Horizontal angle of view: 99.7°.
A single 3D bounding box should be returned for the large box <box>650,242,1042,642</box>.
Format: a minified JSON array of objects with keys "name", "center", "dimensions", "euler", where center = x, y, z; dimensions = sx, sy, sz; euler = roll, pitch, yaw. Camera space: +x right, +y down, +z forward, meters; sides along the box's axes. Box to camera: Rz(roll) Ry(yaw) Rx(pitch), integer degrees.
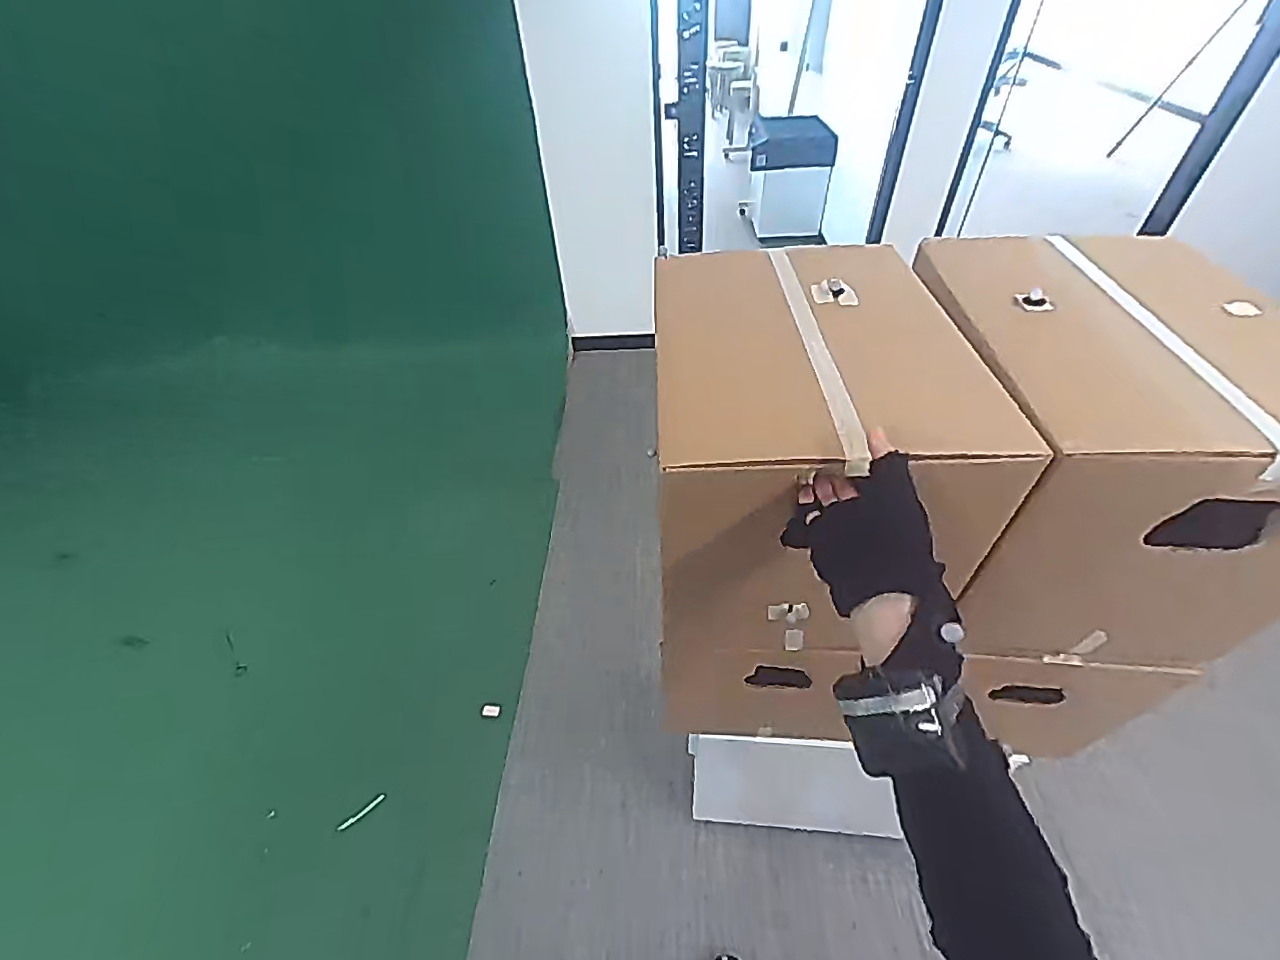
[{"name":"large box","center":[0.179,-0.055,0.675],"dimensions":[0.320,0.320,0.408],"euler":[-2,45,2]}]
